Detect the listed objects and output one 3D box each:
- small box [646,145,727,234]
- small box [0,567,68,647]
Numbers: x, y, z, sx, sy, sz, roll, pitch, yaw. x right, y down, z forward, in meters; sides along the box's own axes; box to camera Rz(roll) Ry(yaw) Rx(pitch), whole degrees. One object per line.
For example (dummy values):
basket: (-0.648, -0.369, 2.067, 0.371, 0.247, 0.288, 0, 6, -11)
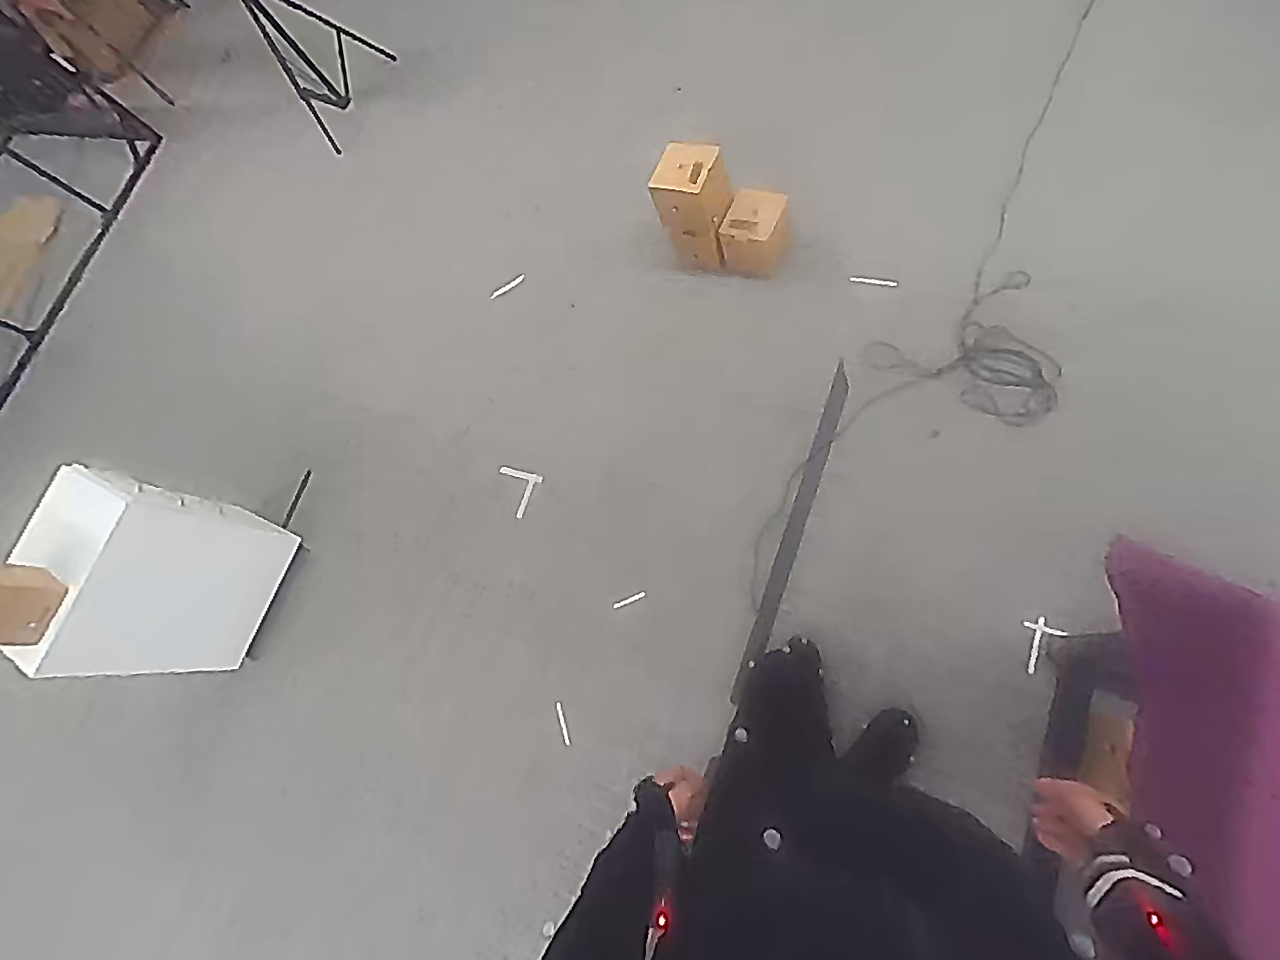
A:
small box: (0.149, -0.884, 1.654, 0.179, 0.176, 0.168, 21, 81, 25)
small box: (-1.690, 0.335, 1.429, 0.179, 0.176, 0.168, 19, 81, 24)
